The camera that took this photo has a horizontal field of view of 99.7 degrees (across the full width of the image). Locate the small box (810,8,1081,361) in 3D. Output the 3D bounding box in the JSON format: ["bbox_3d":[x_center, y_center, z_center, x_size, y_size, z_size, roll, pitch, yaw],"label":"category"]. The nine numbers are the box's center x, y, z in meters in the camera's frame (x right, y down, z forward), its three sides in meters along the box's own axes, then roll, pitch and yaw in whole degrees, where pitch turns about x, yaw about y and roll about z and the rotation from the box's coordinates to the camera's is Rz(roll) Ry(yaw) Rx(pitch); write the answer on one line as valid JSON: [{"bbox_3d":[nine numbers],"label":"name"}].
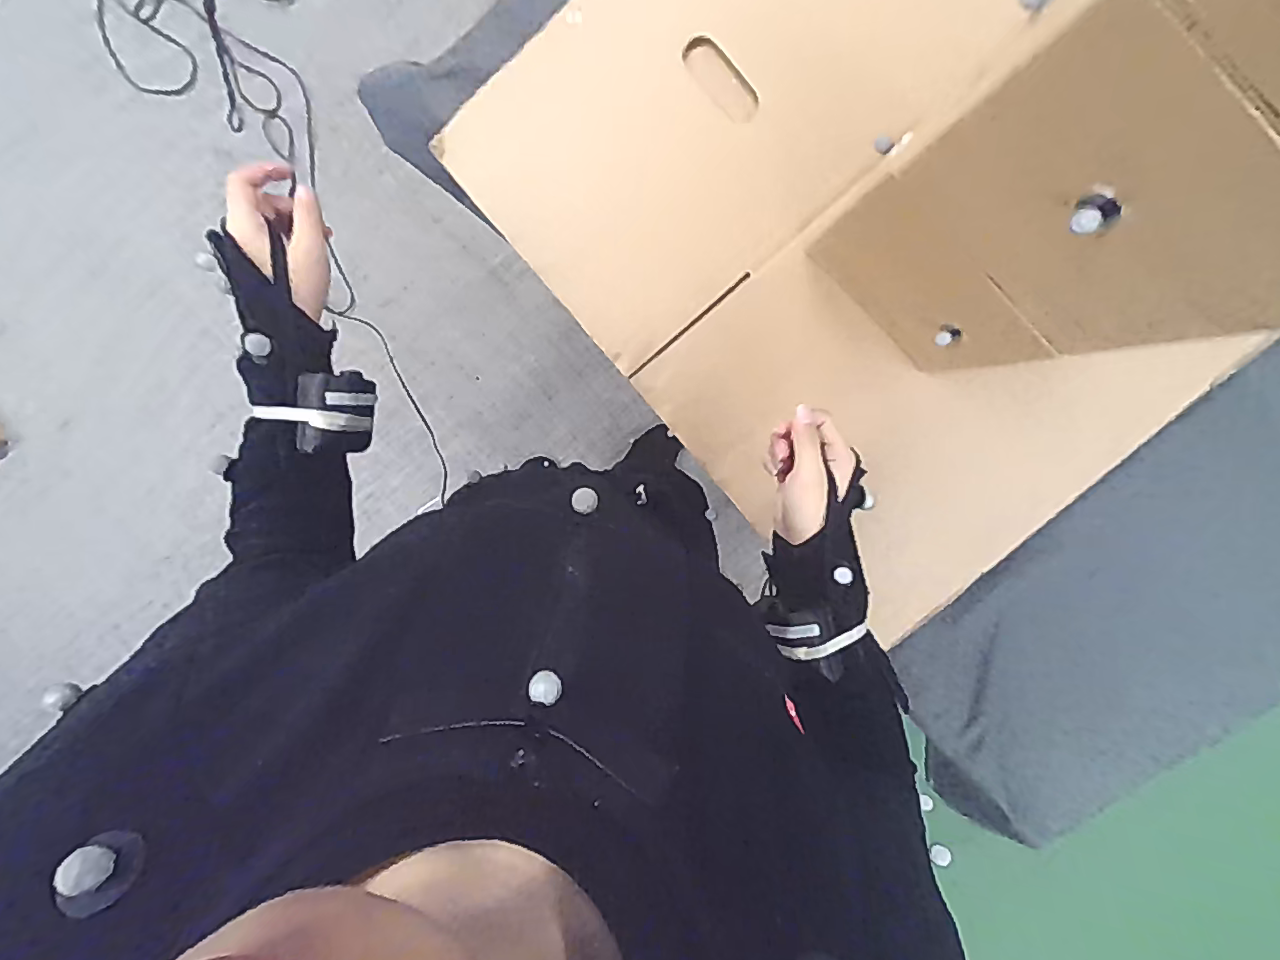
[{"bbox_3d":[0.274,-0.212,0.433,0.179,0.176,0.168,42,94,-6],"label":"small box"}]

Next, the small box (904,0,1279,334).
[{"bbox_3d":[0.282,-0.192,0.270,0.179,0.176,0.168,41,94,-6],"label":"small box"}]
